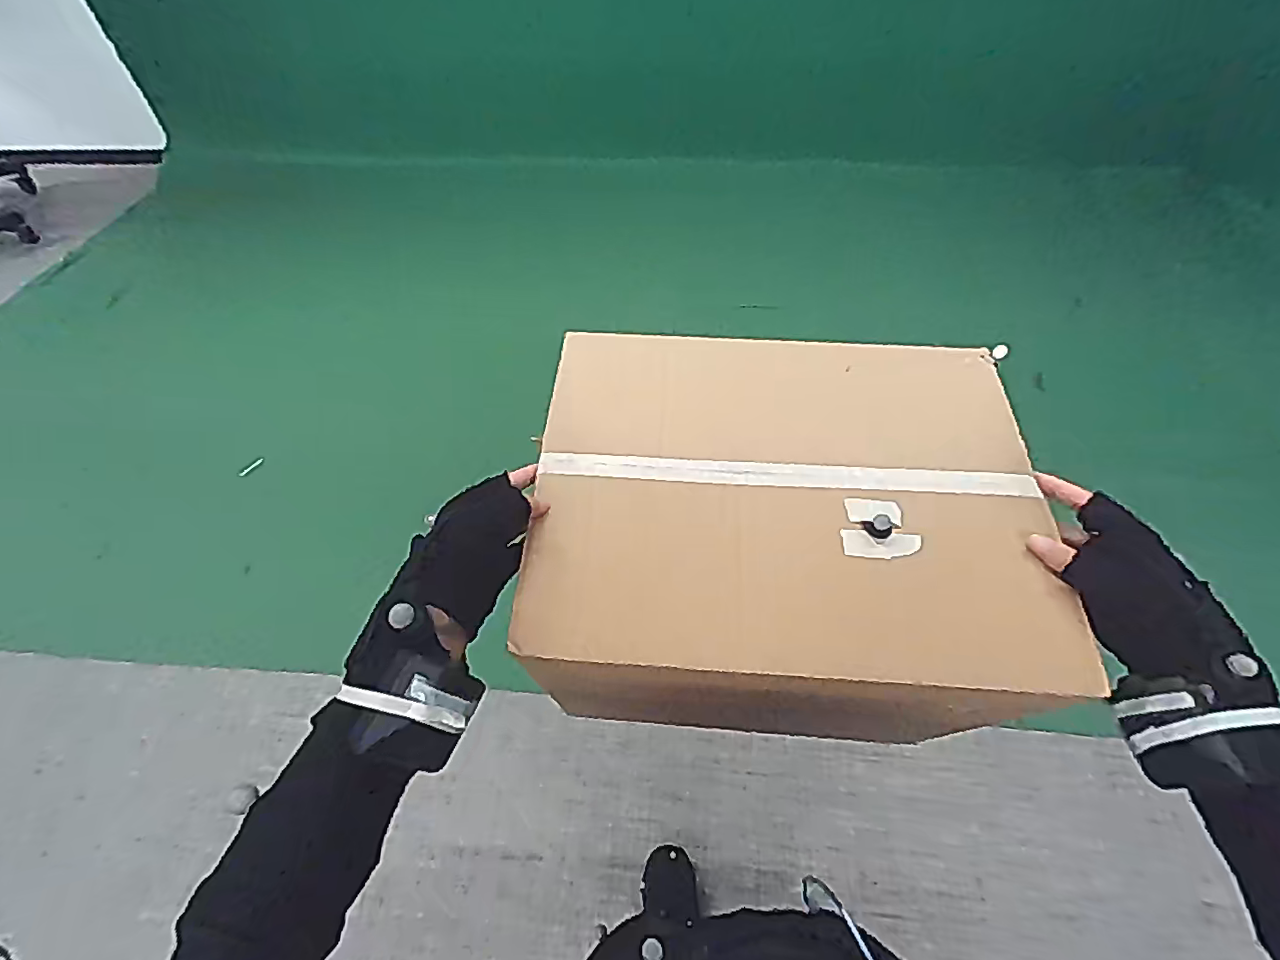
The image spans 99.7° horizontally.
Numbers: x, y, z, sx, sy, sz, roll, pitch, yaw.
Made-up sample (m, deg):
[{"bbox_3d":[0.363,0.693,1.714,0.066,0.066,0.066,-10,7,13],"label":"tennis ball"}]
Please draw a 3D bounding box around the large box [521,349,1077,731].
[{"bbox_3d":[0.118,0.080,0.587,0.408,0.320,0.320,2,60,3],"label":"large box"}]
